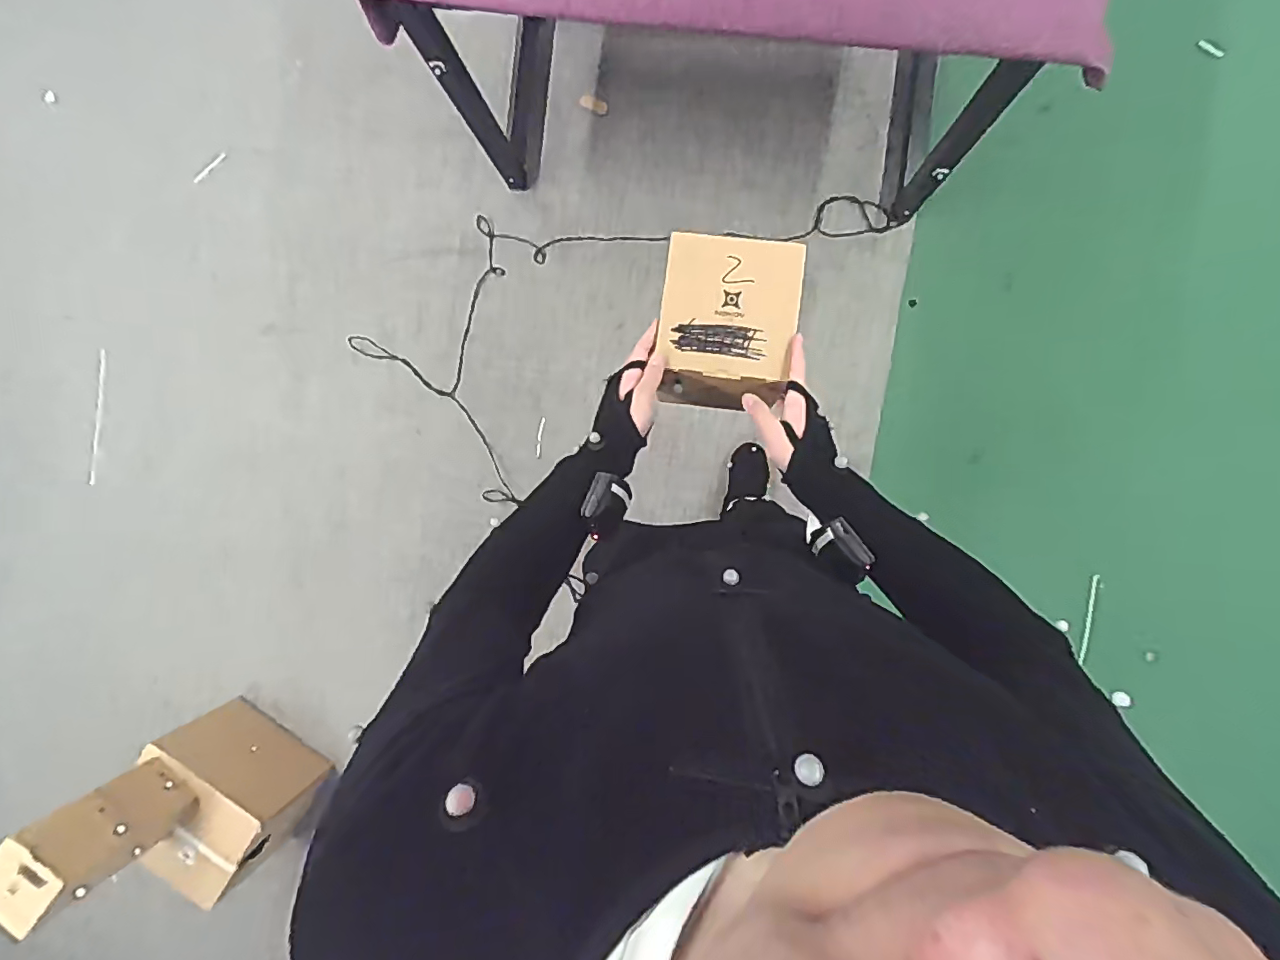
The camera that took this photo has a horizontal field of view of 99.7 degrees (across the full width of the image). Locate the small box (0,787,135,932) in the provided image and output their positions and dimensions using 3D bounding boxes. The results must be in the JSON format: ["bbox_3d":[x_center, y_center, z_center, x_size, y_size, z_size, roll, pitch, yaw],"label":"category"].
[{"bbox_3d":[-1.341,0.865,1.252,0.168,0.176,0.179,39,95,2],"label":"small box"}]

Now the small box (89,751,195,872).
[{"bbox_3d":[-1.334,0.862,1.415,0.168,0.176,0.179,39,94,2],"label":"small box"}]

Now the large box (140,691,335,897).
[{"bbox_3d":[-1.259,0.933,1.657,0.408,0.320,0.320,32,96,2],"label":"large box"}]
